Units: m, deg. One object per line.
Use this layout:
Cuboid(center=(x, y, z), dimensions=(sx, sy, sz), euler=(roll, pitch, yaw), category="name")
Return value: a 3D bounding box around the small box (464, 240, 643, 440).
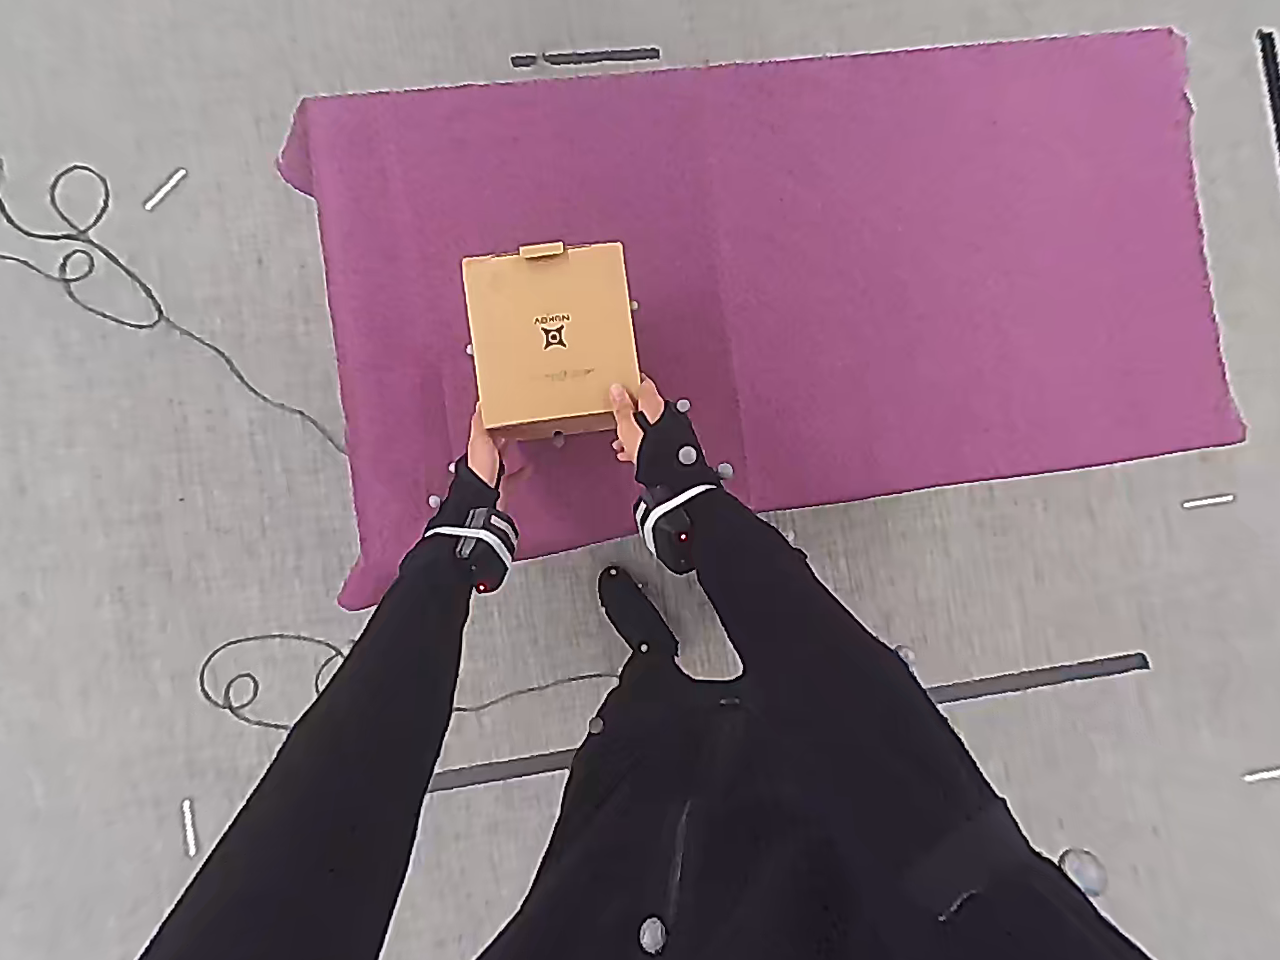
Cuboid(center=(-0.092, -0.147, 0.620), dimensions=(0.168, 0.176, 0.179), euler=(-7, 89, -4), category="small box")
